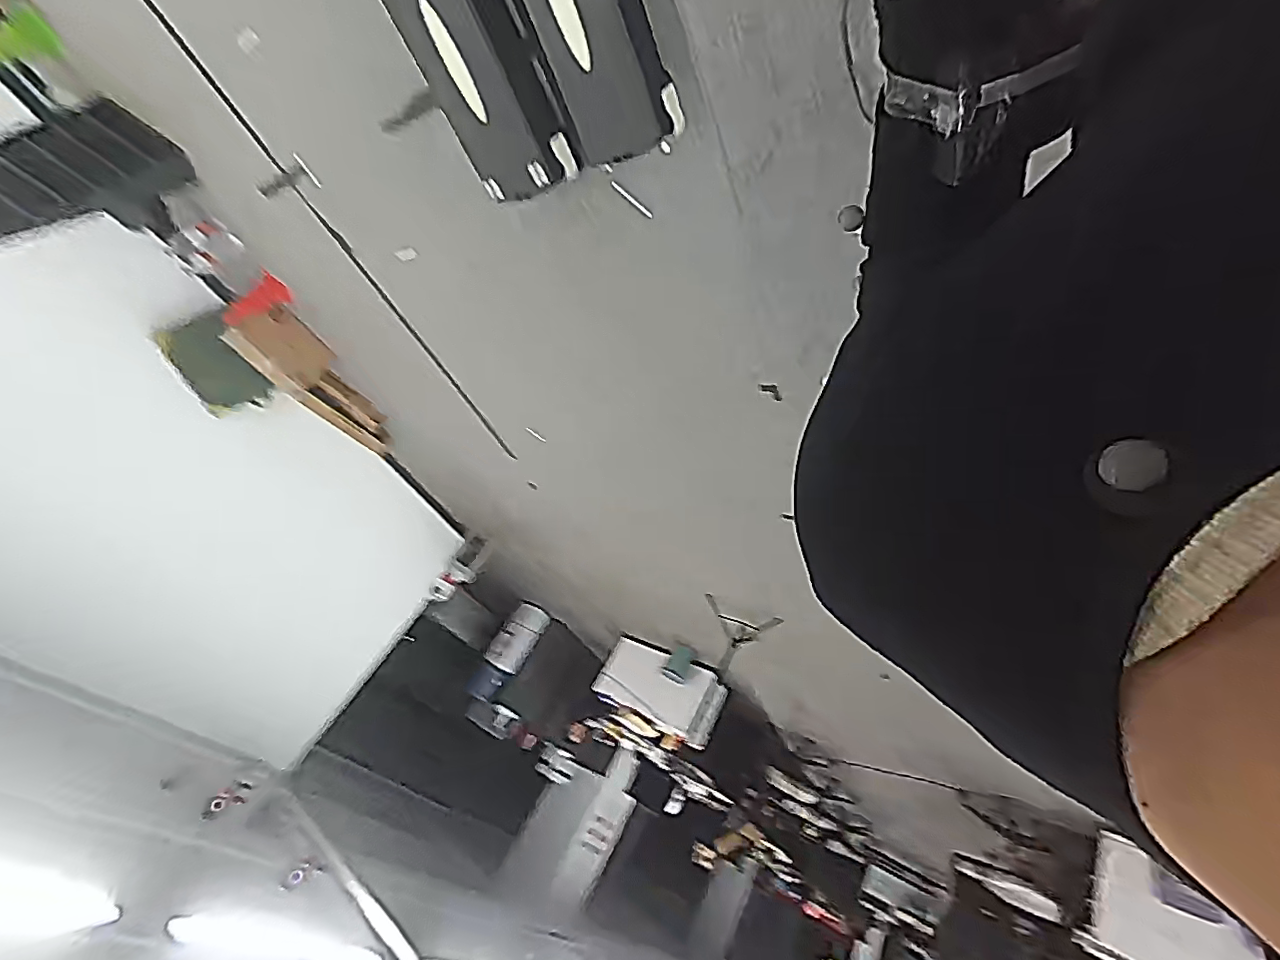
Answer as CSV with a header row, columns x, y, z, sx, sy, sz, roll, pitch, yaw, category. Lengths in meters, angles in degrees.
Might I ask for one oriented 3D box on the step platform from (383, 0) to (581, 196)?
x,y,z,sx,sy,sz,roll,pitch,yaw,category
-0.417,-1.085,1.342,0.286,0.204,0.684,13,145,34,step platform
